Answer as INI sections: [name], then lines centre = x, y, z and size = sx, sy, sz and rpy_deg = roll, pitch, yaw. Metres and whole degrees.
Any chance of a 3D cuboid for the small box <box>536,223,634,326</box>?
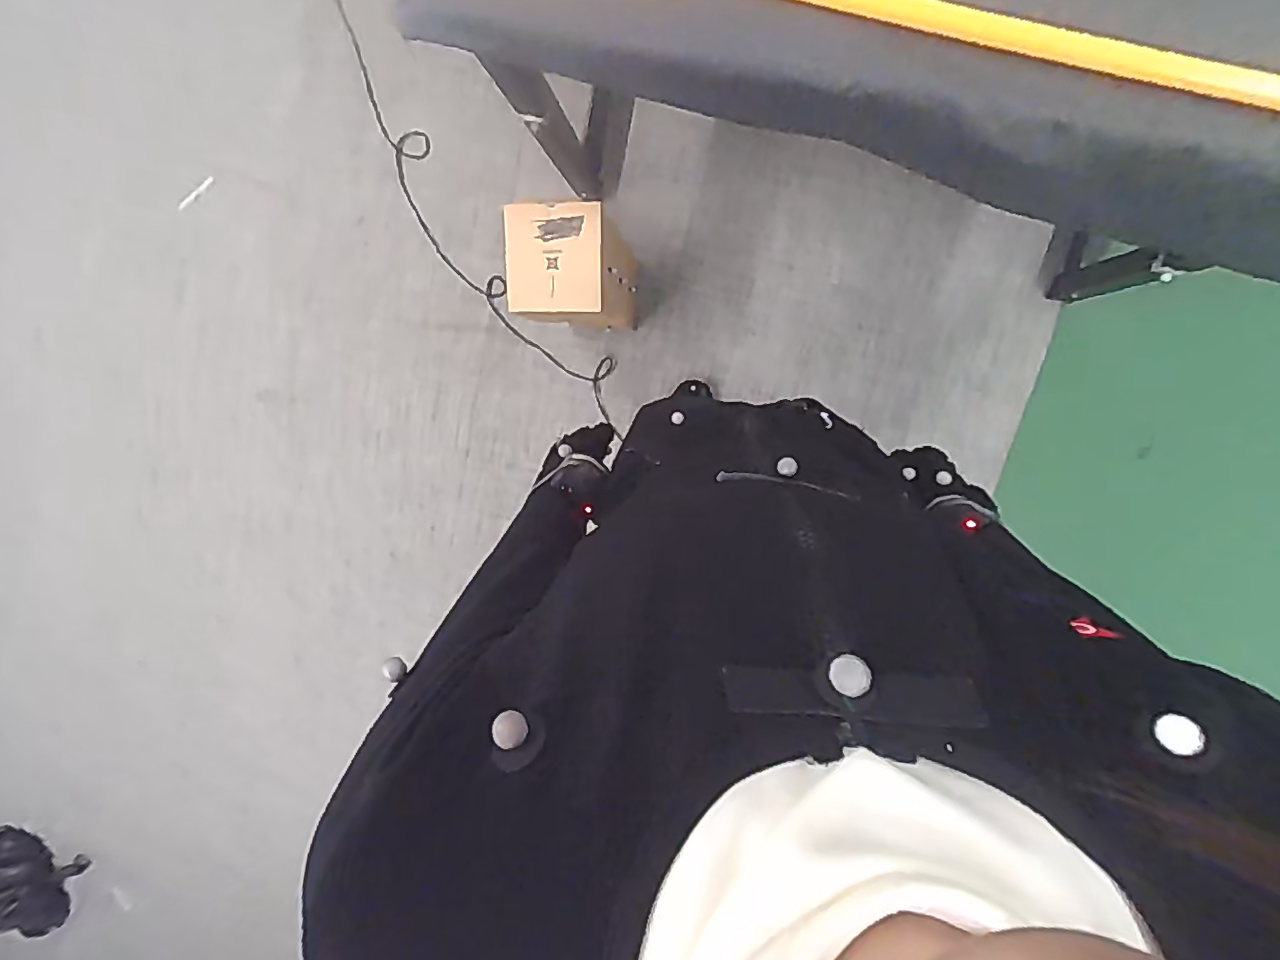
[small box]
centre = -0.109, -0.424, 1.146
size = 0.168, 0.176, 0.179
rpy_deg = -1, 99, 10
